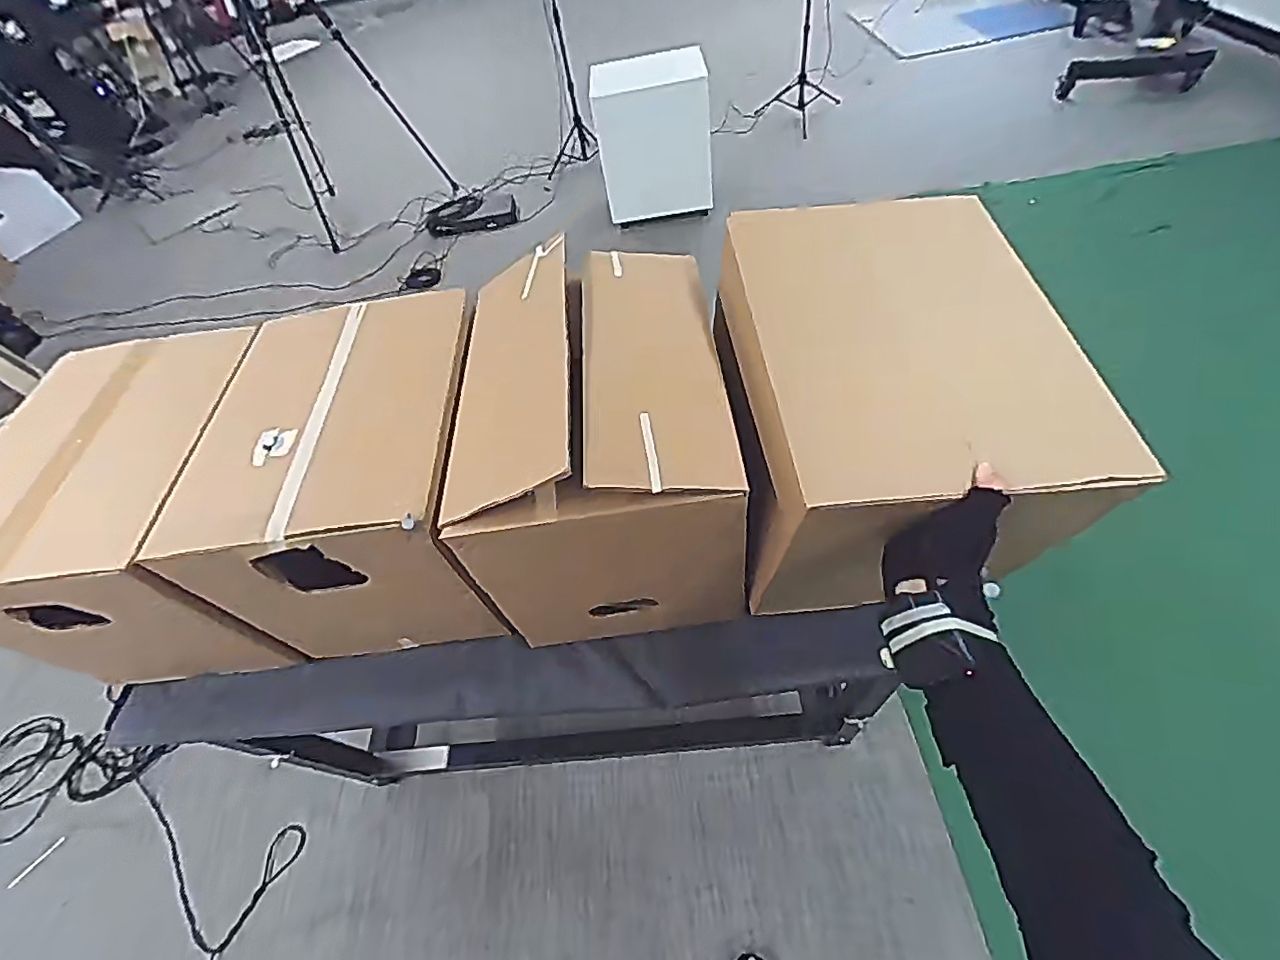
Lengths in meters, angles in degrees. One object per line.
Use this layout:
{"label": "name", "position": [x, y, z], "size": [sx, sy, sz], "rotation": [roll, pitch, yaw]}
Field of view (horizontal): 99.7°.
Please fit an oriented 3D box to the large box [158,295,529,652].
{"label": "large box", "position": [-0.358, -0.006, 0.796], "size": [0.320, 0.320, 0.408], "rotation": [-9, 54, 4]}
